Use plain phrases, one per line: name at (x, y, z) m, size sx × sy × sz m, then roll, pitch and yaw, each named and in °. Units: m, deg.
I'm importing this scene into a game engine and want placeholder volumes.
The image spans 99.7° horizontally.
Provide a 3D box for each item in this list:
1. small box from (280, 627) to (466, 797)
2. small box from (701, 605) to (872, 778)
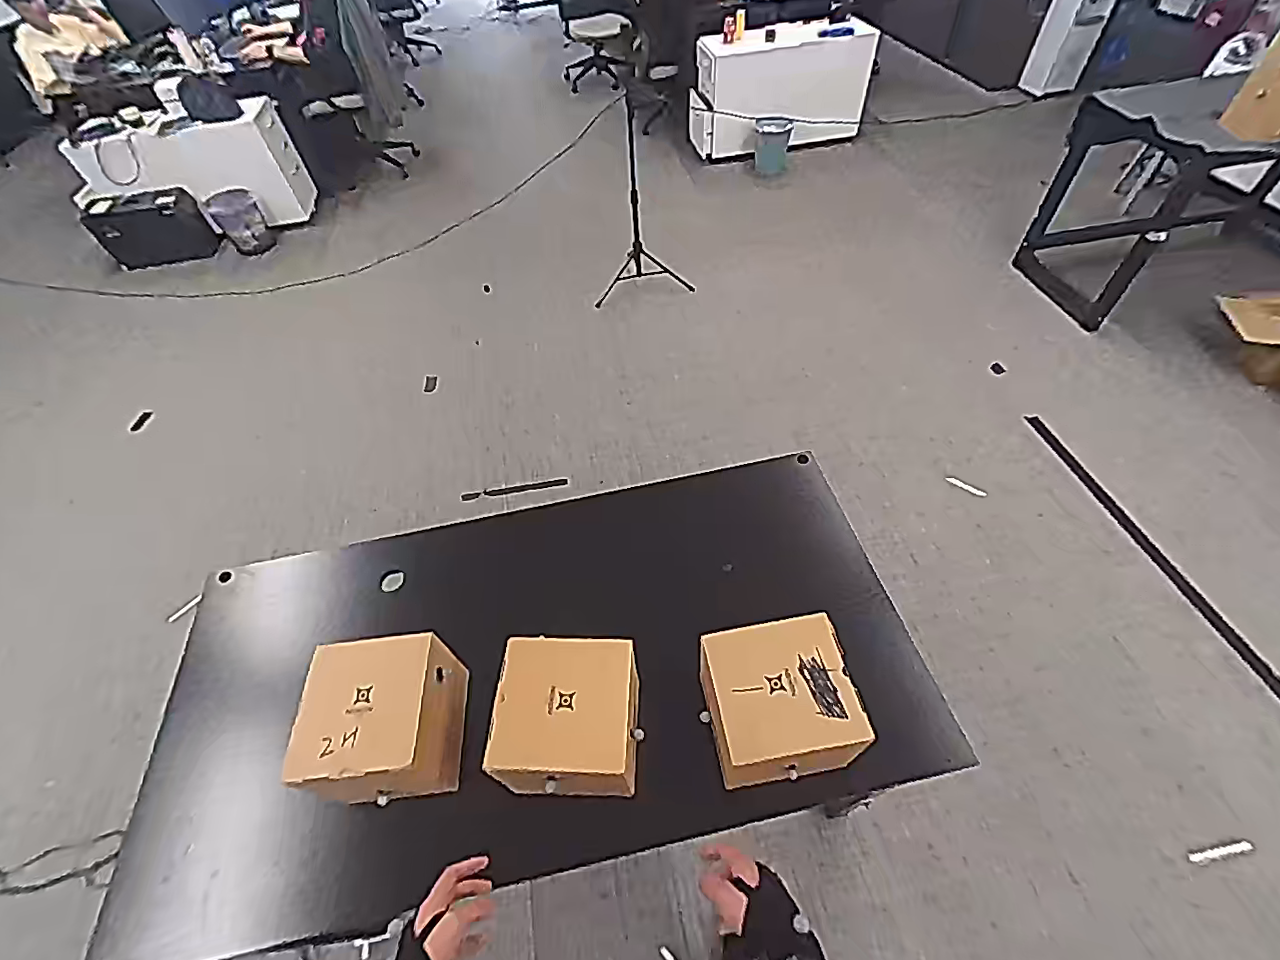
small box at (-0.357, 0.331, 0.767) m, size 0.168 × 0.176 × 0.179 m, roll -7°, pitch 53°, yaw 0°
small box at (0.185, 0.294, 0.746) m, size 0.179 × 0.176 × 0.168 m, roll -11°, pitch 52°, yaw -2°
